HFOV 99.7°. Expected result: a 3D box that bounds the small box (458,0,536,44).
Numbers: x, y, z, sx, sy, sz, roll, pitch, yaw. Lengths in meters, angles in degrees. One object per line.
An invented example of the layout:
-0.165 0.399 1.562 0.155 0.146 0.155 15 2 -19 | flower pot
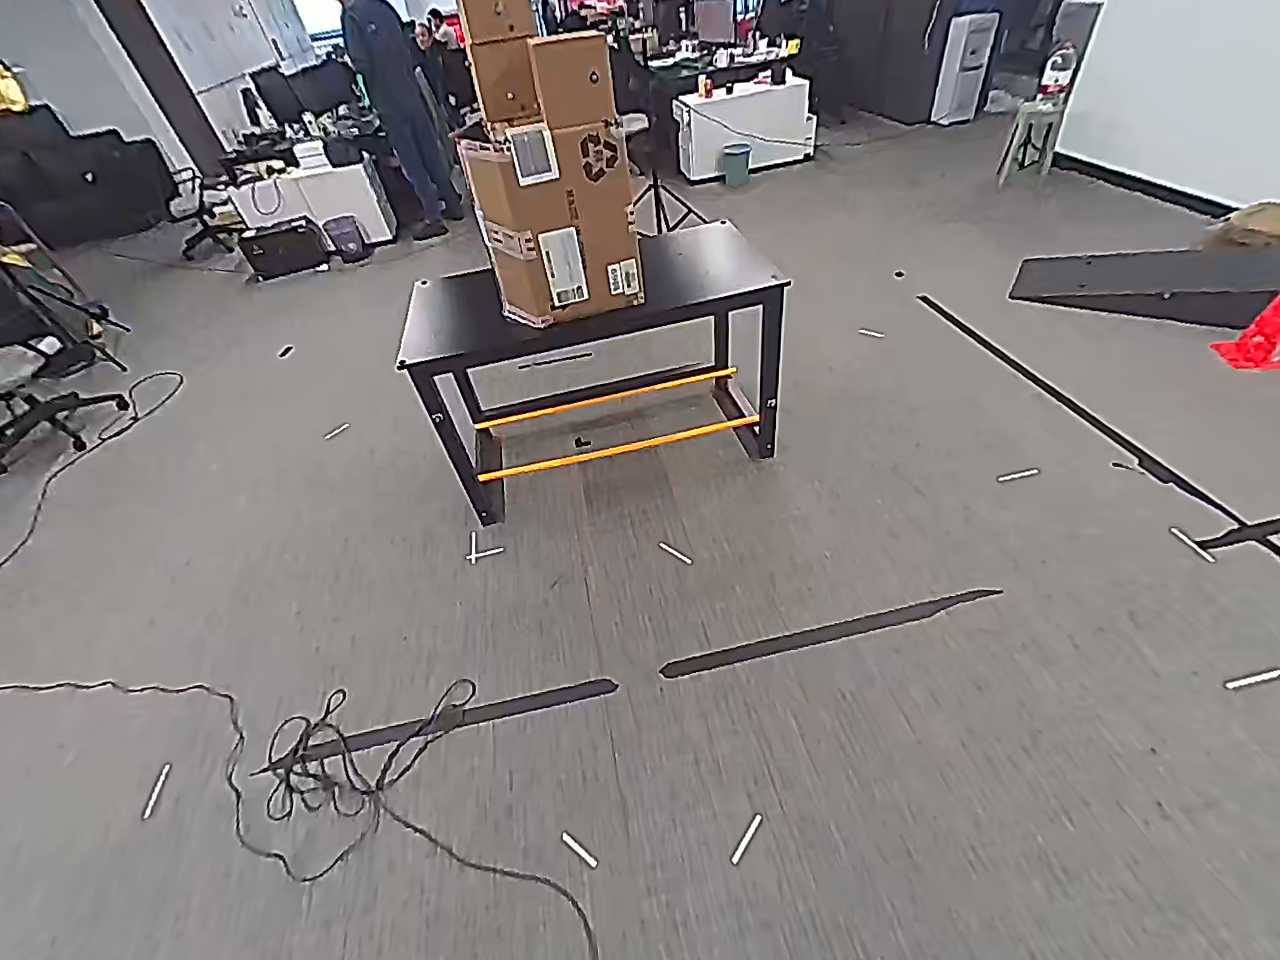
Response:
-0.370 -1.208 1.357 0.168 0.176 0.179 -17 42 -10 | small box

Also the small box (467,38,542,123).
-0.362 -1.089 1.472 0.168 0.176 0.179 -16 43 -9 | small box

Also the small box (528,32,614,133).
-0.167 -0.984 1.337 0.179 0.176 0.168 -15 43 -6 | small box
